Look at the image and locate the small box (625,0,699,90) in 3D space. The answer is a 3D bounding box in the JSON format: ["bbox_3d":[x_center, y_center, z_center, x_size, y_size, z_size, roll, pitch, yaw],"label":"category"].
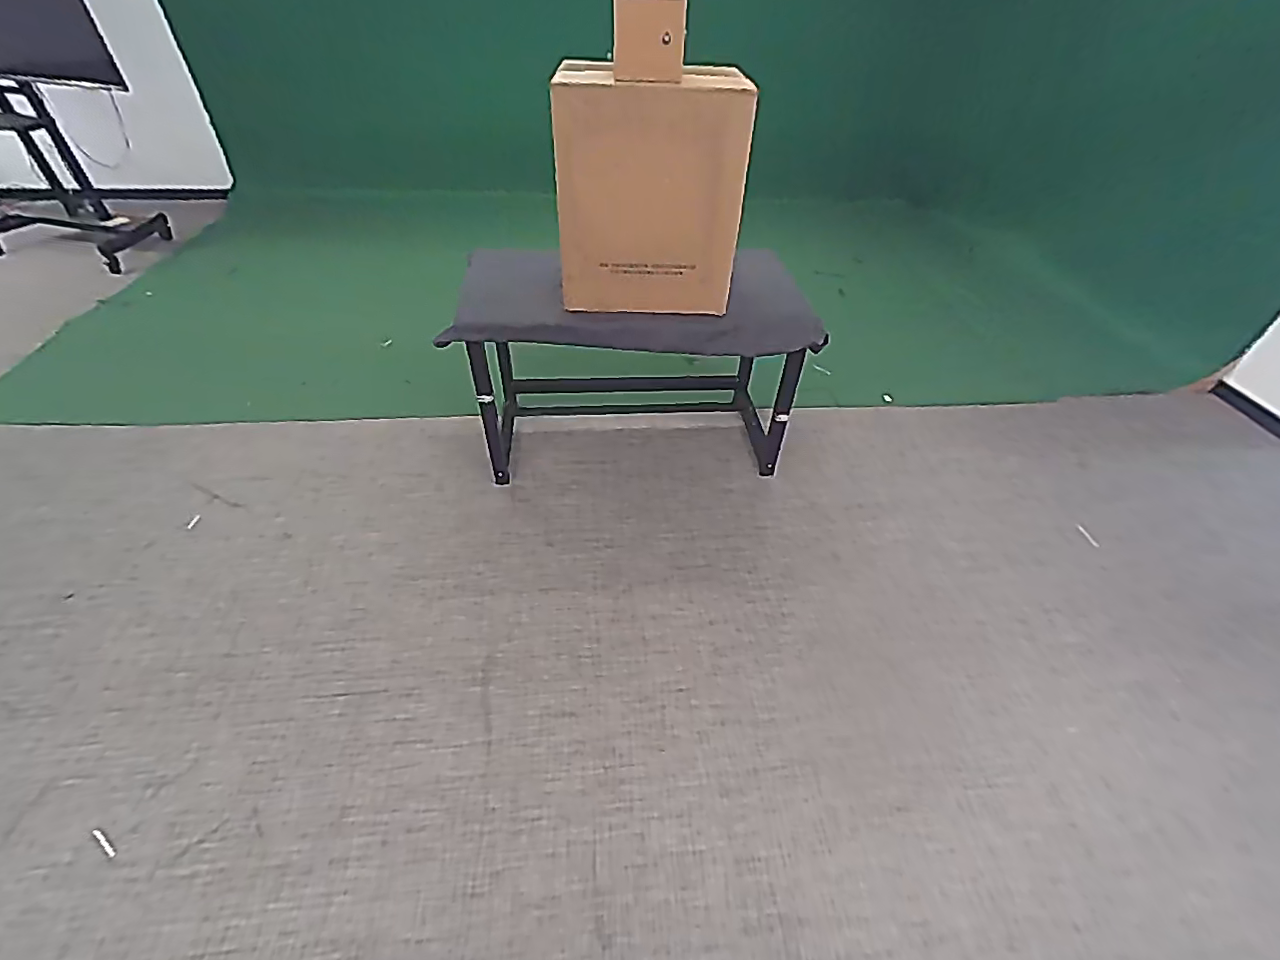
[{"bbox_3d":[0.050,-1.128,1.399,0.179,0.176,0.168,-1,45,-1],"label":"small box"}]
